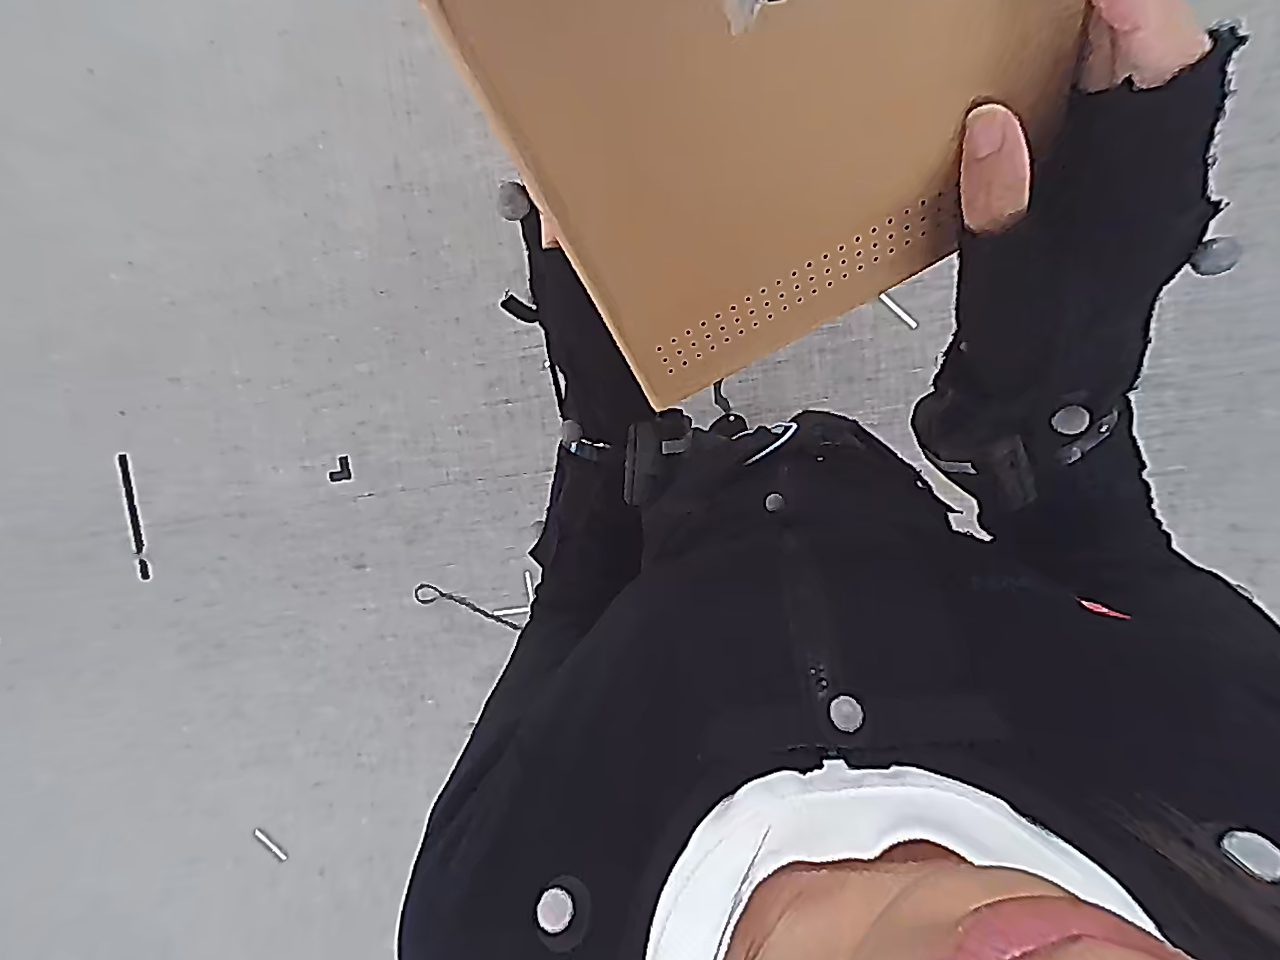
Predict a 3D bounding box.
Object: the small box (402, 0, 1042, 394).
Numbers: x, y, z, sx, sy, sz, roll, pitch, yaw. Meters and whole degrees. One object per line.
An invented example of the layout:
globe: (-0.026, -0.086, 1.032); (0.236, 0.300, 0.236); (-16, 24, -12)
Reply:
small box: (0.031, -0.167, 0.221); (0.179, 0.176, 0.168); (-27, 50, 8)
